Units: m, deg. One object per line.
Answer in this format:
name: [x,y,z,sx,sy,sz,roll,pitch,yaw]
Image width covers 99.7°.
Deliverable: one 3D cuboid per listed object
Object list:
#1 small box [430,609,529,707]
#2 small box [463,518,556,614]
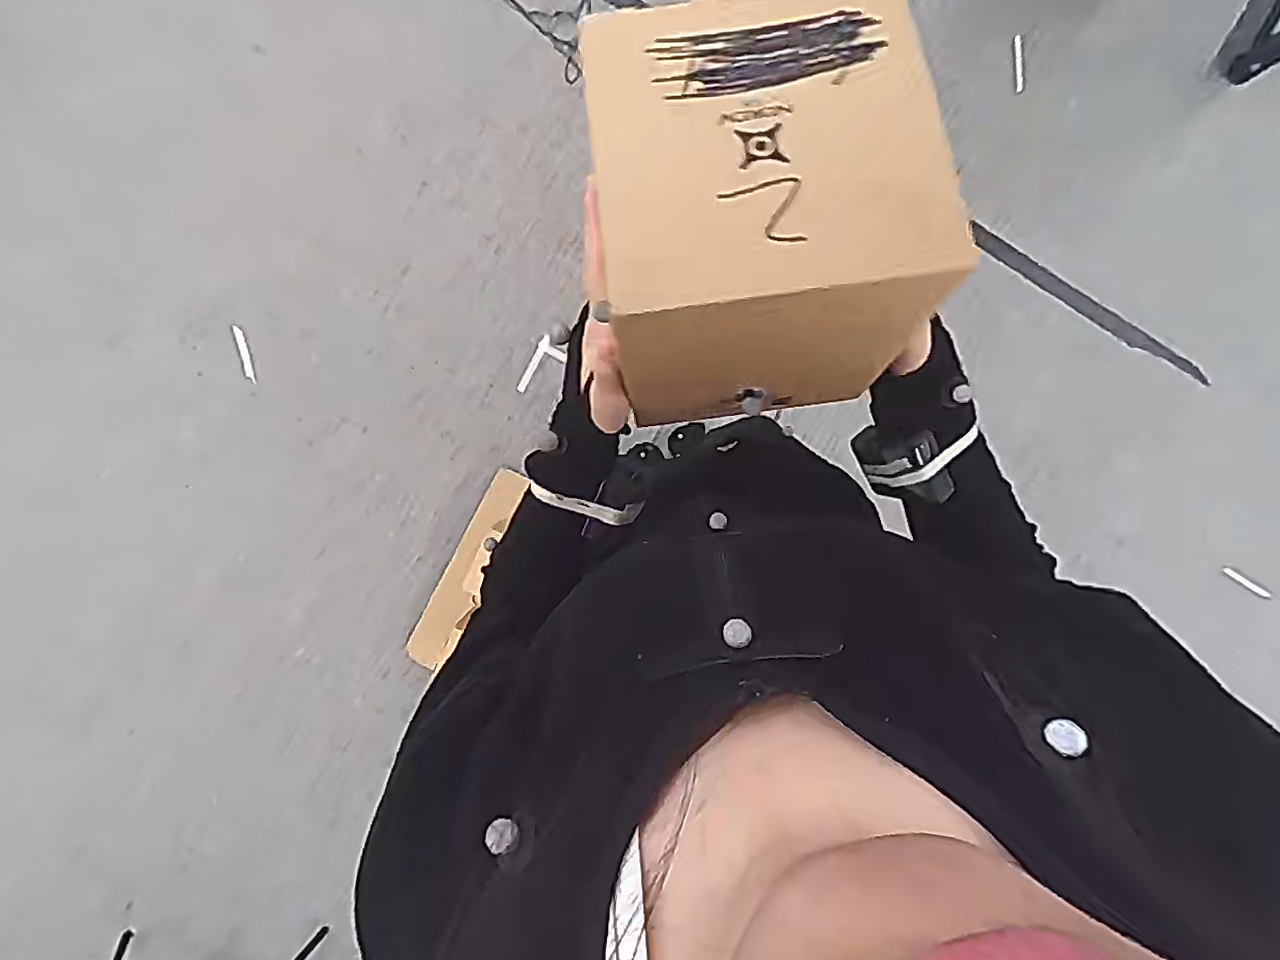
small box: [-0.417,0.461,1.434,0.179,0.176,0.168,24,95,-3]
small box: [-0.331,0.215,1.412,0.168,0.176,0.179,25,94,-2]
